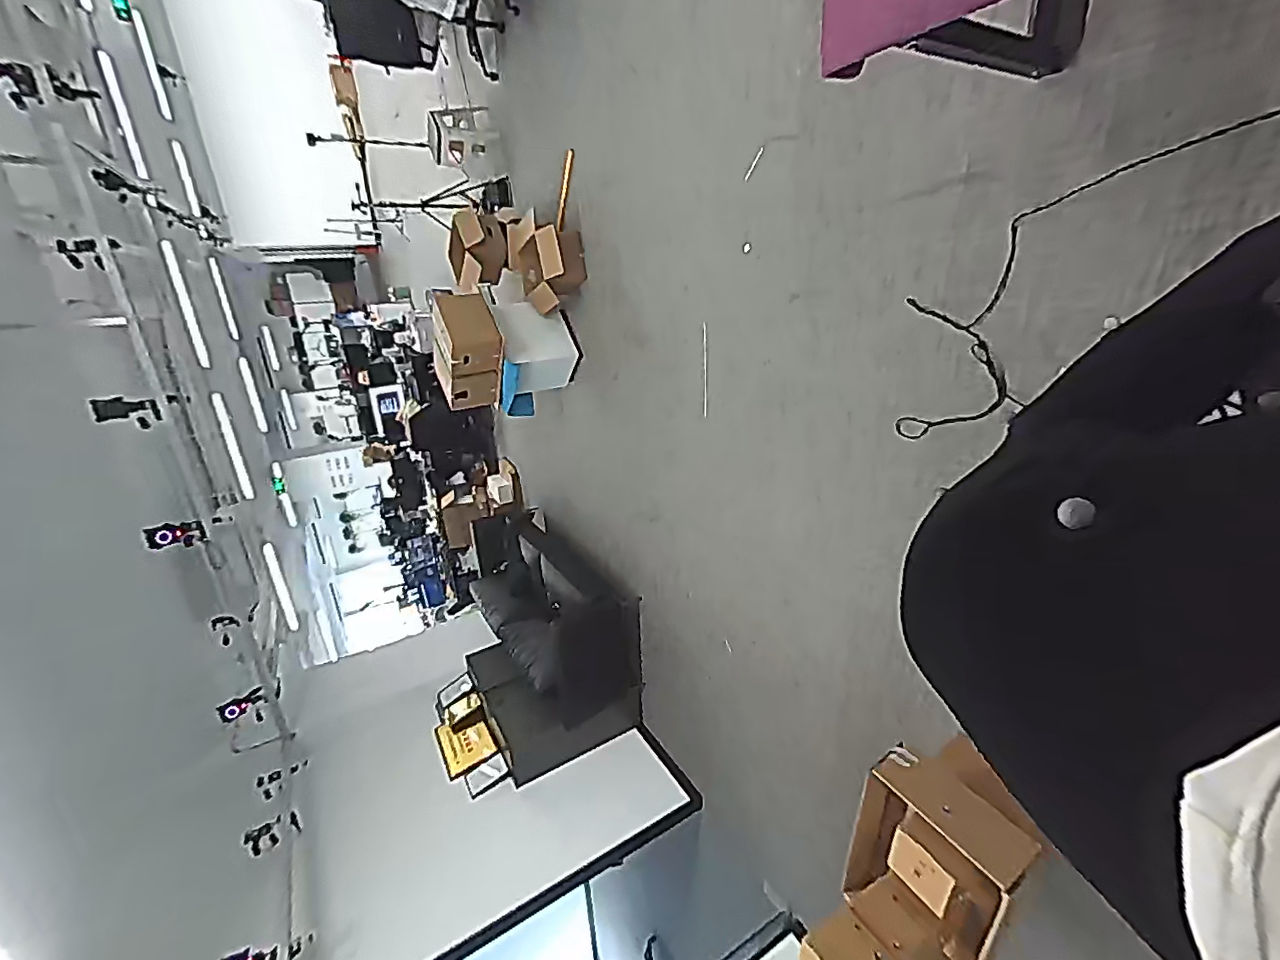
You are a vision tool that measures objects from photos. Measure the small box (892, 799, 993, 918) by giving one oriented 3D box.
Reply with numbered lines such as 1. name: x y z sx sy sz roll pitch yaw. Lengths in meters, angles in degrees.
1. small box: 0.829 1.030 1.483 0.168 0.176 0.179 35 133 52

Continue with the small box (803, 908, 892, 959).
1. small box: 0.554 1.296 1.430 0.168 0.176 0.179 31 127 55

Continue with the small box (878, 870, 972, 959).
1. small box: 0.839 1.259 1.591 0.168 0.176 0.179 33 128 53
